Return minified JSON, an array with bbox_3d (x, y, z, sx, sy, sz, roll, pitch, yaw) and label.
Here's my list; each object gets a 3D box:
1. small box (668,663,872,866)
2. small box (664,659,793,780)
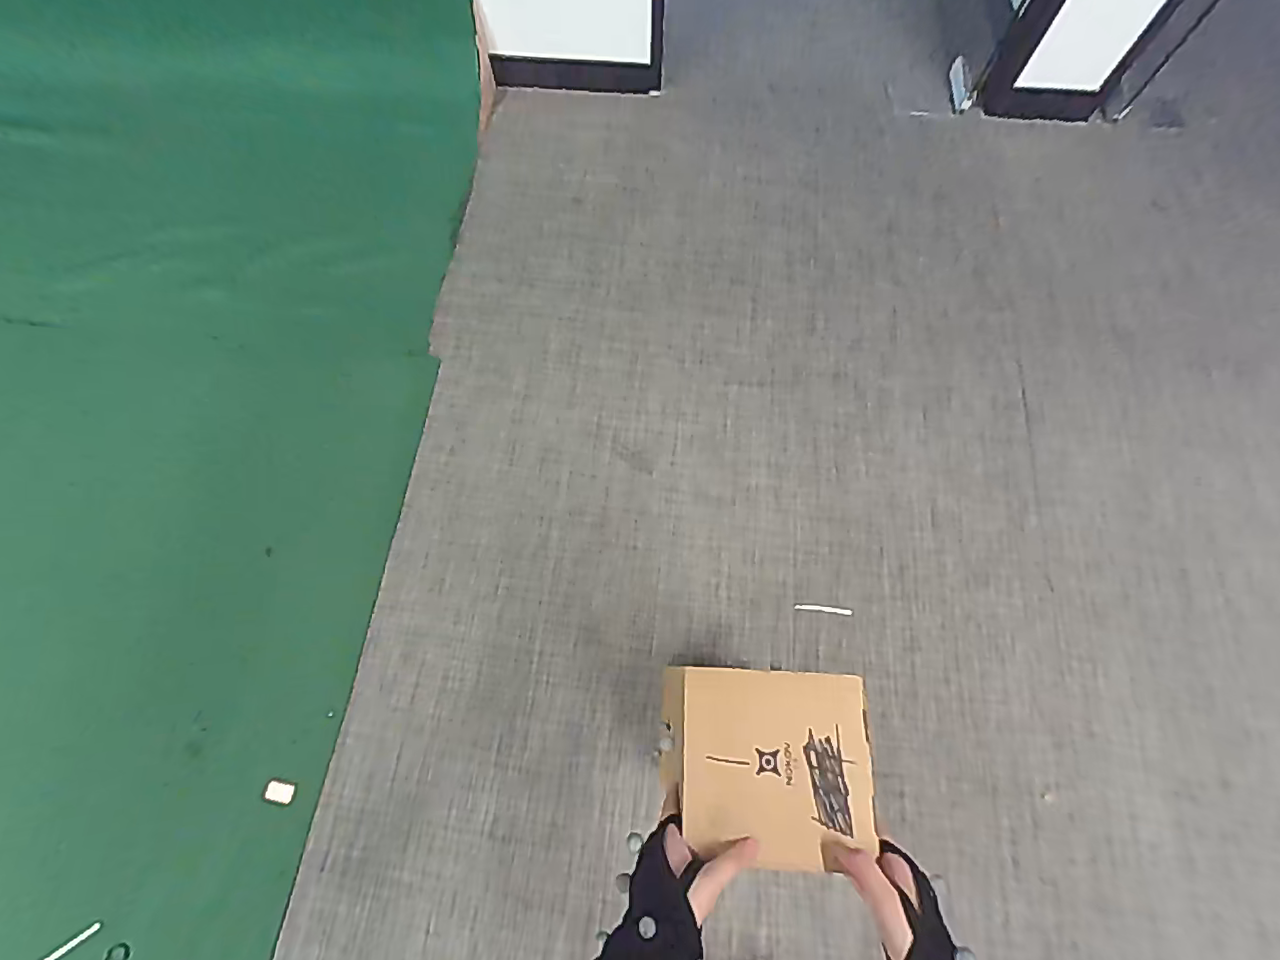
[{"bbox_3d":[0.123,0.291,0.582,0.179,0.176,0.168,2,67,2],"label":"small box"},{"bbox_3d":[0.121,0.351,0.766,0.168,0.176,0.179,1,71,2],"label":"small box"}]
